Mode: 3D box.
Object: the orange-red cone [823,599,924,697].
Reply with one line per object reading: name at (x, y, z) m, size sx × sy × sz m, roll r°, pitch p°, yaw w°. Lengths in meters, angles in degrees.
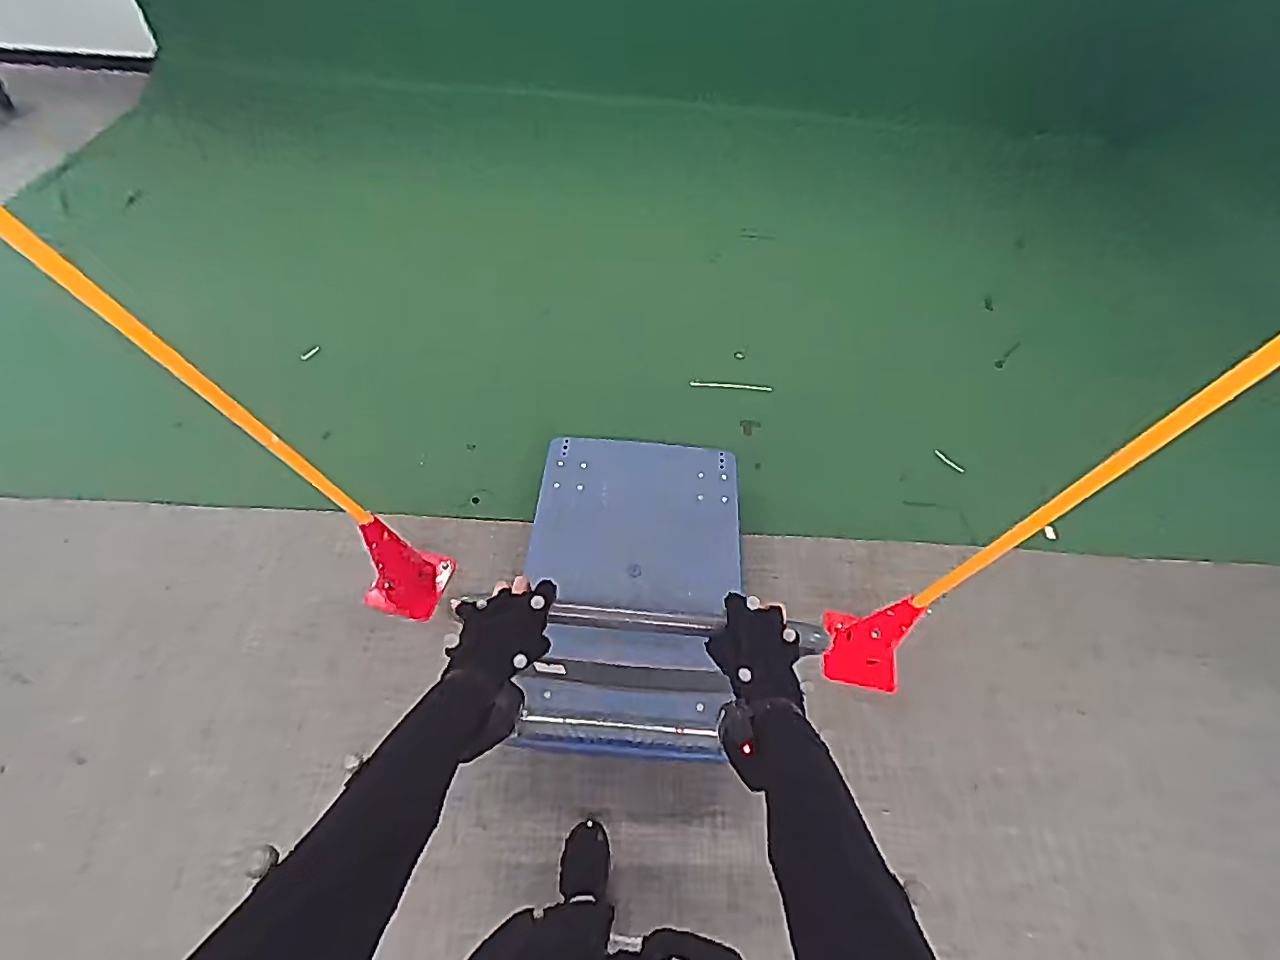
orange-red cone at (0.622, 0.392, 1.372) m, size 0.198 × 0.360 × 0.199 m, roll 12°, pitch 55°, yaw 6°
